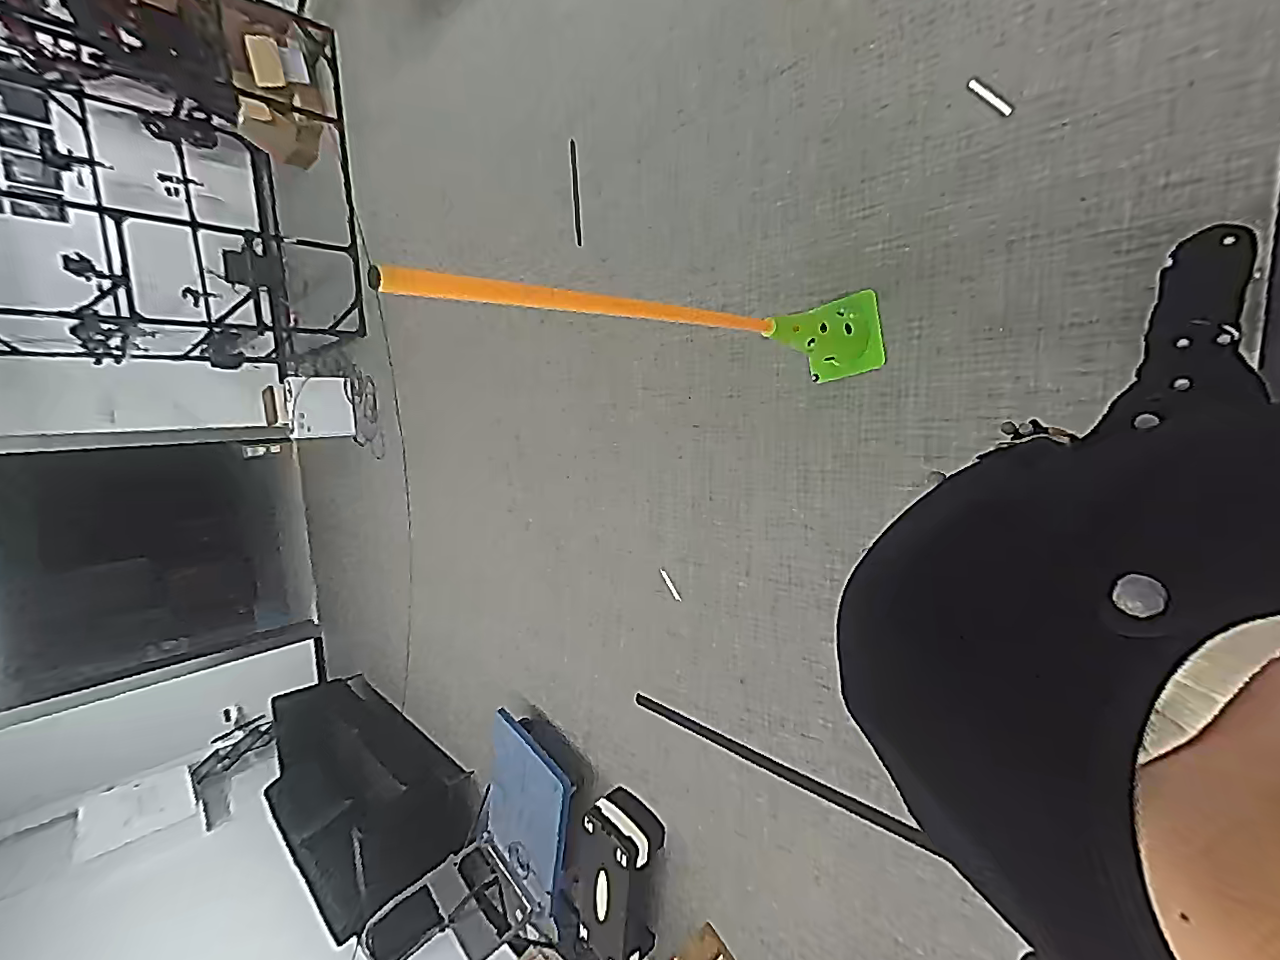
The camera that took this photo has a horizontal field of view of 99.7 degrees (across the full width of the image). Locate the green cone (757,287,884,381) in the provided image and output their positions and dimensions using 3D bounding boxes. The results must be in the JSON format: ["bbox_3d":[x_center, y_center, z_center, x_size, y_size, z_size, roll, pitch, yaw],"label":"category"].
[{"bbox_3d":[0.399,-0.356,1.278,0.200,0.368,0.202,-10,88,46],"label":"green cone"}]
